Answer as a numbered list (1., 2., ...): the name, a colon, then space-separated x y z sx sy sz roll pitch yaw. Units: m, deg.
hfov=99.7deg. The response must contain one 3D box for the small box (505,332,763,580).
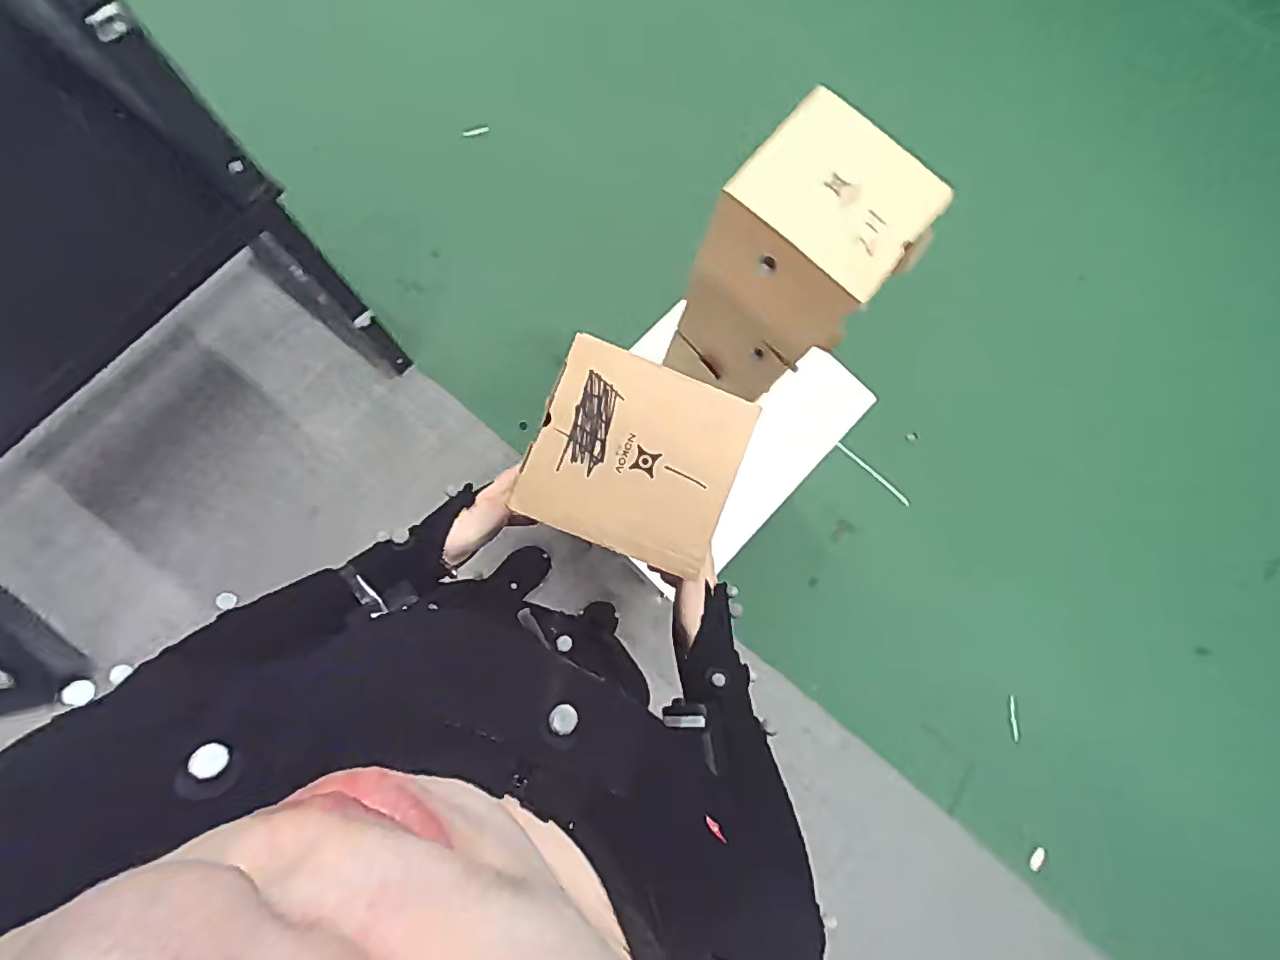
1. small box: -0.009 -0.016 0.530 0.179 0.176 0.168 21 86 -3

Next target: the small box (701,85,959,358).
1. small box: 0.191 -0.266 0.598 0.179 0.176 0.168 41 80 1

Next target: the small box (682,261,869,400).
1. small box: 0.181 -0.241 0.760 0.168 0.176 0.179 -42 88 -11

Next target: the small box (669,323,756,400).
1. small box: 0.164 -0.220 0.921 0.179 0.176 0.168 -44 88 -10
